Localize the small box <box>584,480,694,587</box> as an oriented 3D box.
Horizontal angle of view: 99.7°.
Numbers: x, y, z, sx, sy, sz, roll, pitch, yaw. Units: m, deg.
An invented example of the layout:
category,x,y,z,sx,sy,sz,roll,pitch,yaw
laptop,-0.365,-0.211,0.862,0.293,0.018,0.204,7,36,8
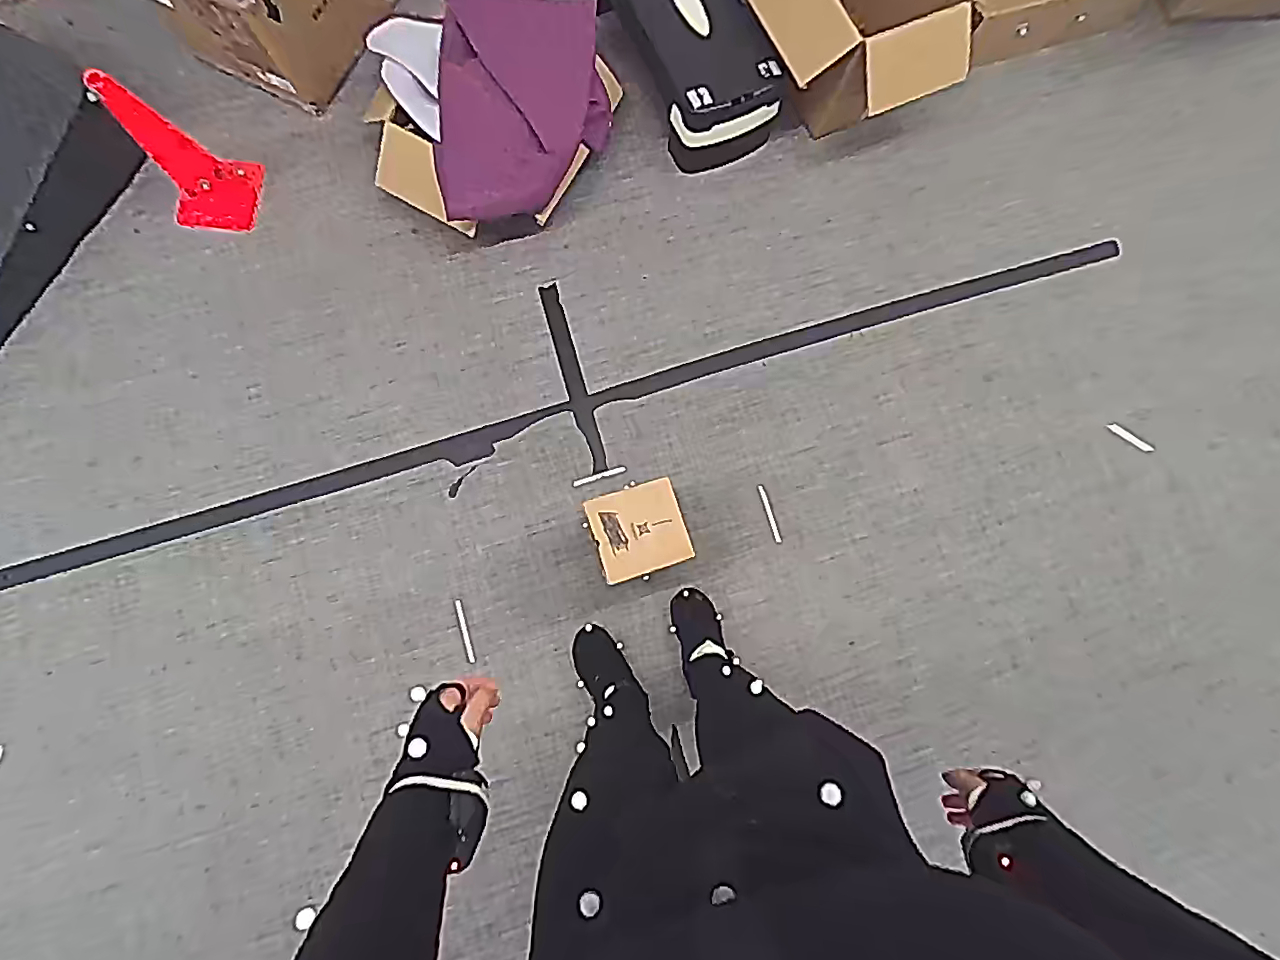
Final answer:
category,x,y,z,sx,sy,sz,roll,pitch,yaw
small box,-0.006,0.113,1.101,0.179,0.176,0.168,-17,83,-6
